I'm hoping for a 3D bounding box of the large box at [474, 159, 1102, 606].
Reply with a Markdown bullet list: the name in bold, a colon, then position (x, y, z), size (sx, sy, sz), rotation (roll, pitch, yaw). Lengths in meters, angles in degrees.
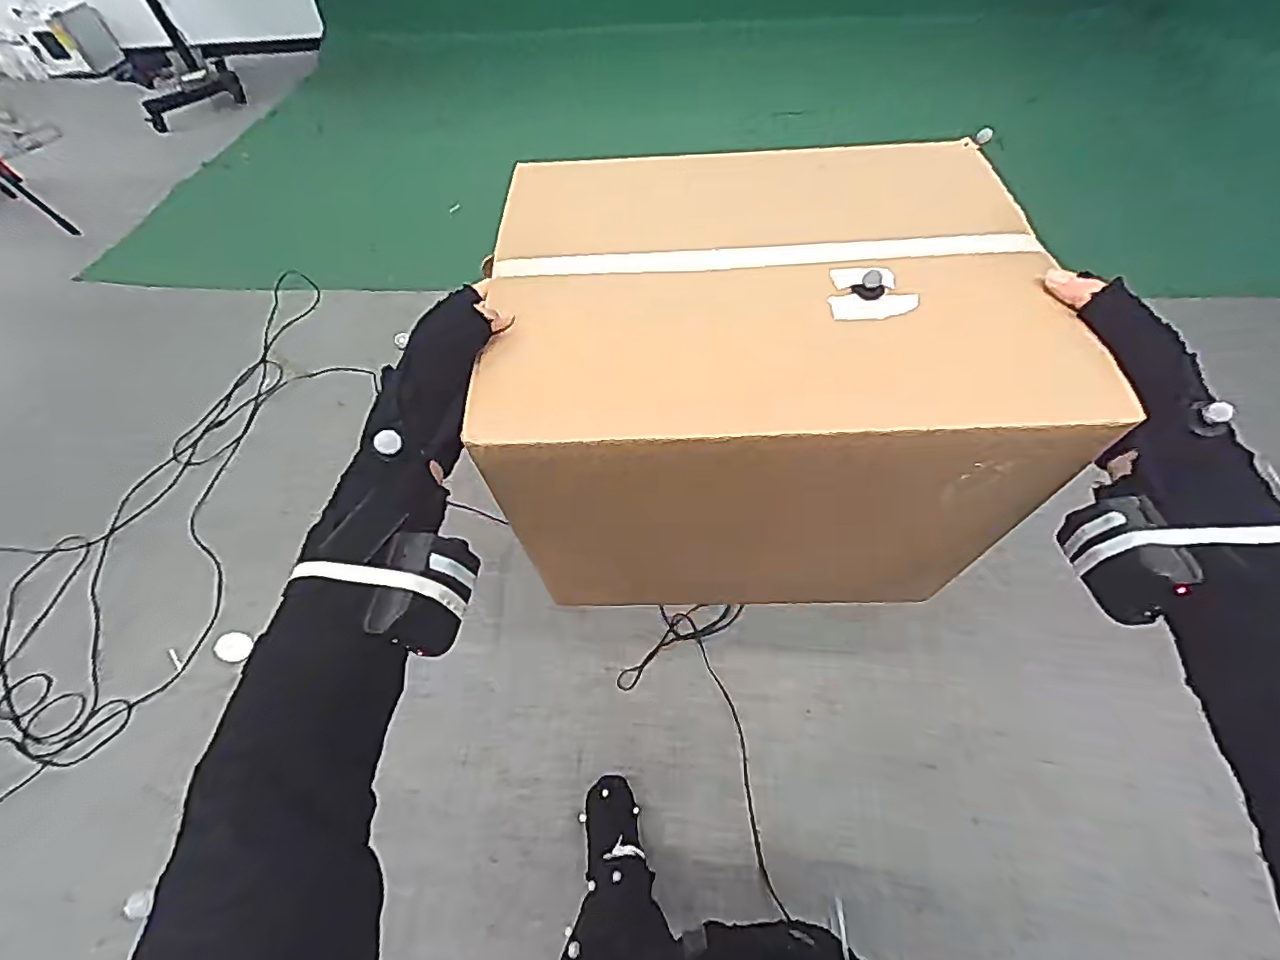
- **large box**: position (0.092, -0.076, 0.541), size (0.408, 0.320, 0.320), rotation (-2, 59, 2)
